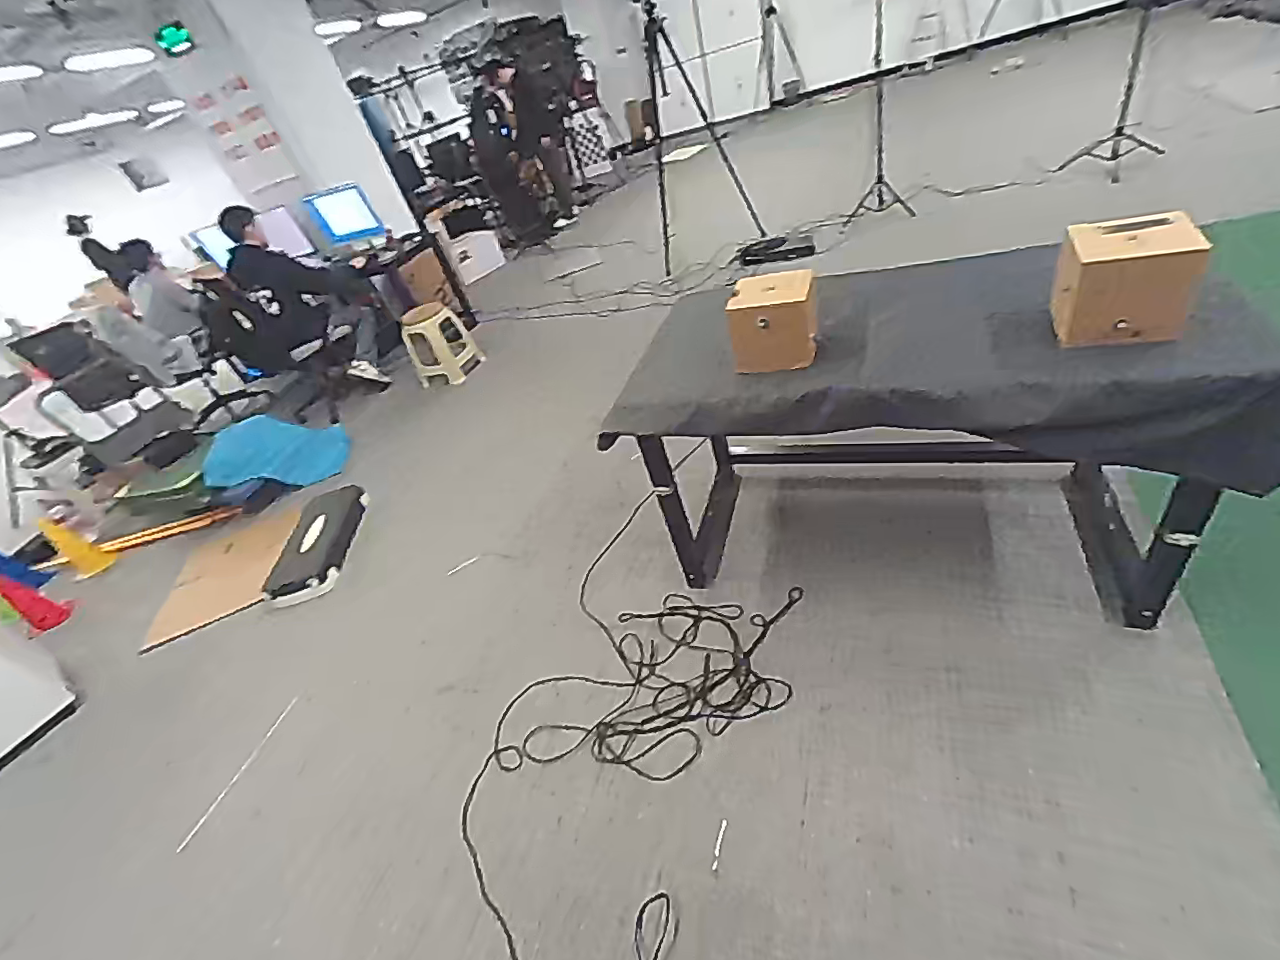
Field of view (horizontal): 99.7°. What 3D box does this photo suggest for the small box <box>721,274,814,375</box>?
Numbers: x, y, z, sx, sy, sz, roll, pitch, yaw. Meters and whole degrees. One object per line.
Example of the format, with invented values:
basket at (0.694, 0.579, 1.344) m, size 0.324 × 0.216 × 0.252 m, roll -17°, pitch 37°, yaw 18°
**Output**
small box at (0.302, -0.355, 1.256) m, size 0.179 × 0.176 × 0.168 m, roll 2°, pitch 43°, yaw 24°
